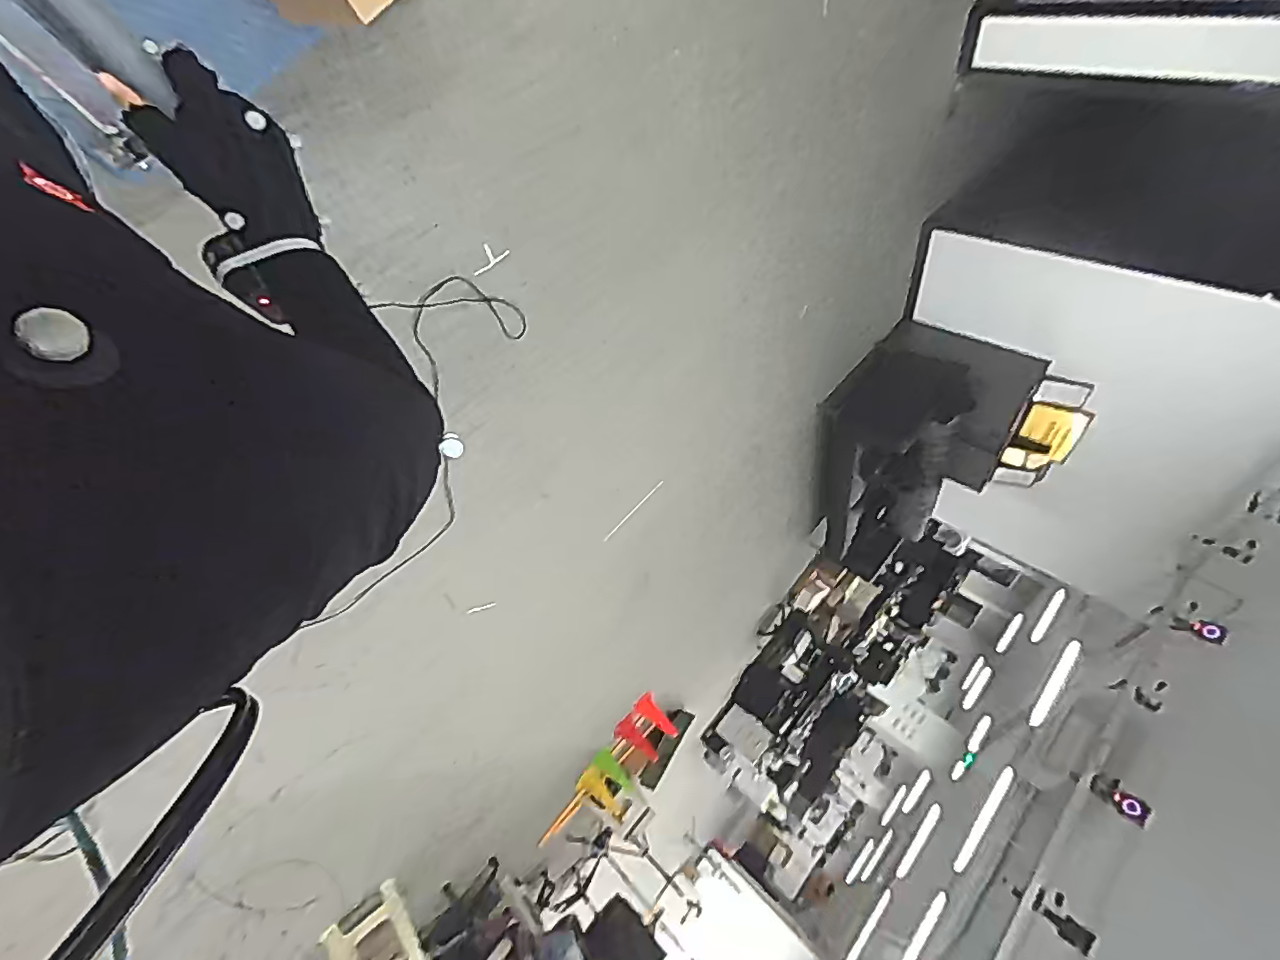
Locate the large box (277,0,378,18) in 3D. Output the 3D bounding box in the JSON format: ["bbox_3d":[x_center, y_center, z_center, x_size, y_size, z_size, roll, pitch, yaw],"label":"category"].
[{"bbox_3d":[-0.469,-0.916,0.693,0.320,0.320,0.408,-51,146,-9],"label":"large box"}]
